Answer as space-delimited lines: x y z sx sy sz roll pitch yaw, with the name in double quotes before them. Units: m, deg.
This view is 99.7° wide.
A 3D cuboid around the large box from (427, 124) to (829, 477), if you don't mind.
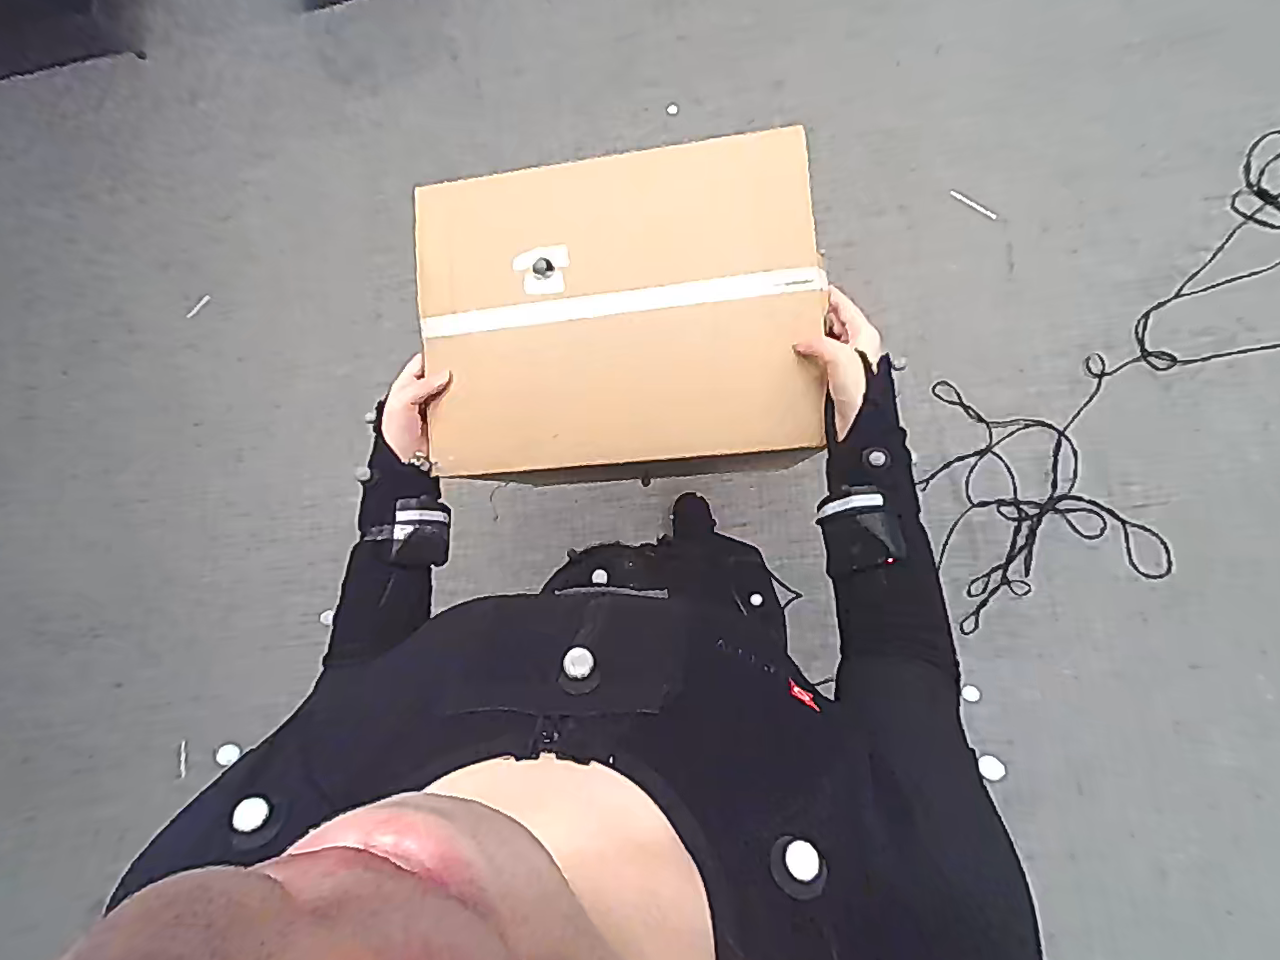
"large box" 0.000 -0.175 0.699 0.408 0.320 0.320 -5 87 10
